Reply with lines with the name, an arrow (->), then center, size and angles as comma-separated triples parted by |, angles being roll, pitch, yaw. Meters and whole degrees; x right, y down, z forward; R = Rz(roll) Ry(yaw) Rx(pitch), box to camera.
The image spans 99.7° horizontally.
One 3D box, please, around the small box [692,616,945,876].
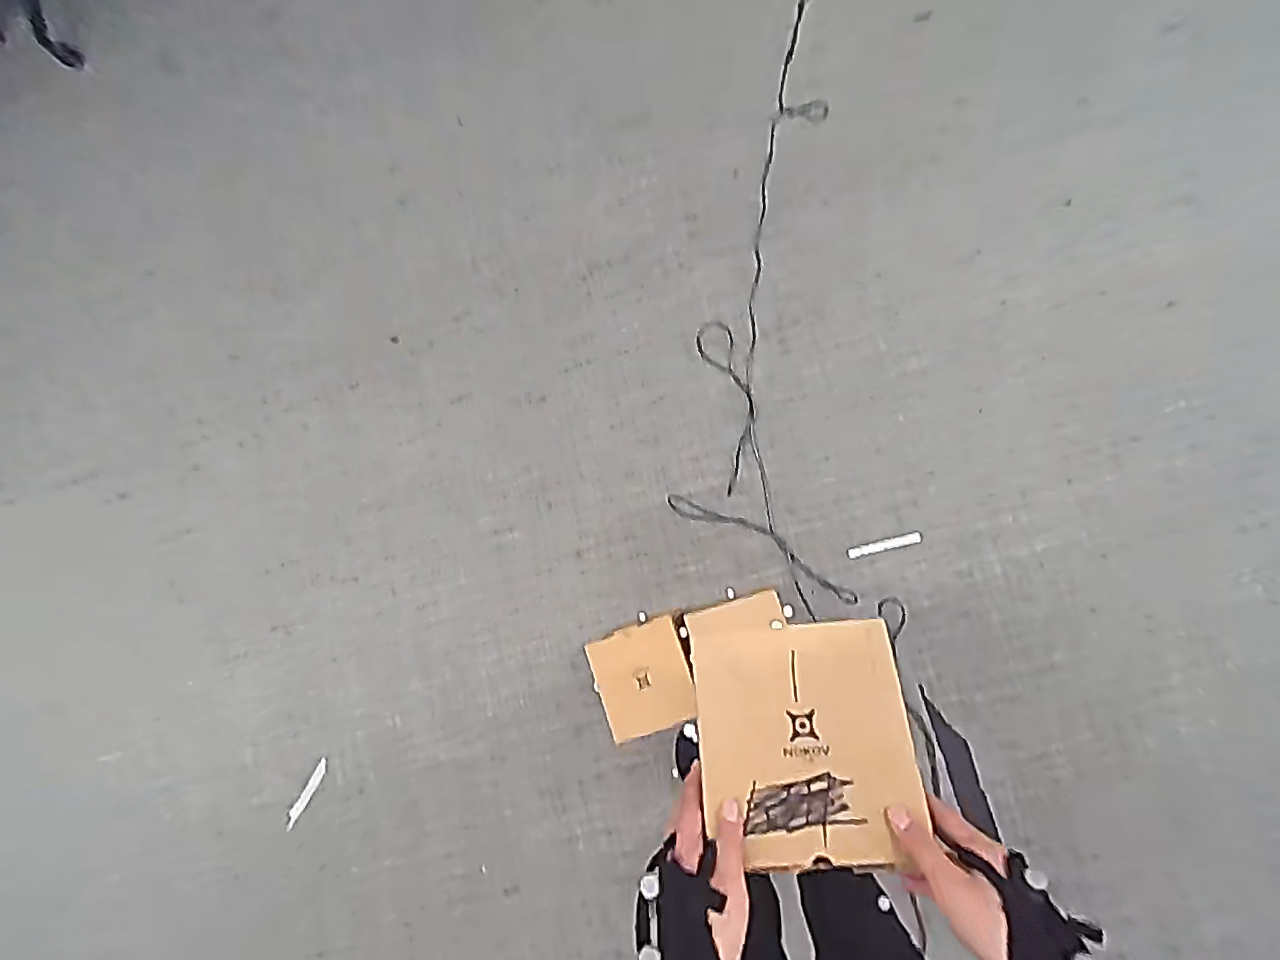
small box -> 0.138, 0.228, 0.485 | 0.168, 0.176, 0.179 | -5, 65, 5
